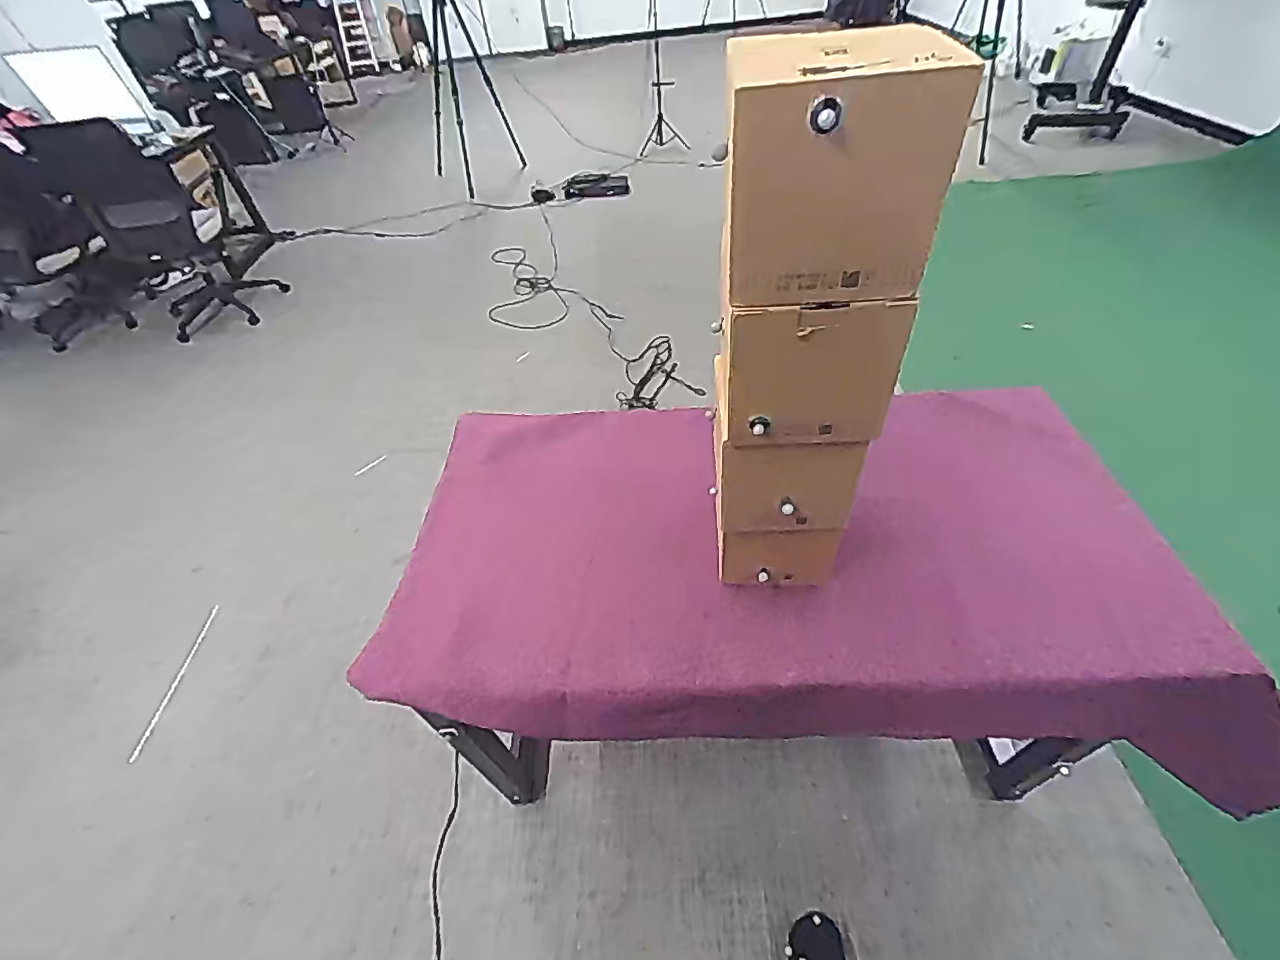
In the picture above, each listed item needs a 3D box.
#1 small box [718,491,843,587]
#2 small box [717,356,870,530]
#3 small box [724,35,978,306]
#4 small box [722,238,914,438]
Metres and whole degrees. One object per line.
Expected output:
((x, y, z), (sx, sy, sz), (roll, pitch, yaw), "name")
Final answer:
((0.209, 0.049, 0.854), (0.168, 0.176, 0.179), (-1, 47, 7), "small box")
((0.189, -0.052, 0.725), (0.168, 0.176, 0.179), (-2, 47, 6), "small box")
((0.161, -0.275, 0.486), (0.168, 0.176, 0.179), (-1, 46, 8), "small box")
((0.177, -0.158, 0.600), (0.168, 0.176, 0.179), (-1, 46, 6), "small box")
